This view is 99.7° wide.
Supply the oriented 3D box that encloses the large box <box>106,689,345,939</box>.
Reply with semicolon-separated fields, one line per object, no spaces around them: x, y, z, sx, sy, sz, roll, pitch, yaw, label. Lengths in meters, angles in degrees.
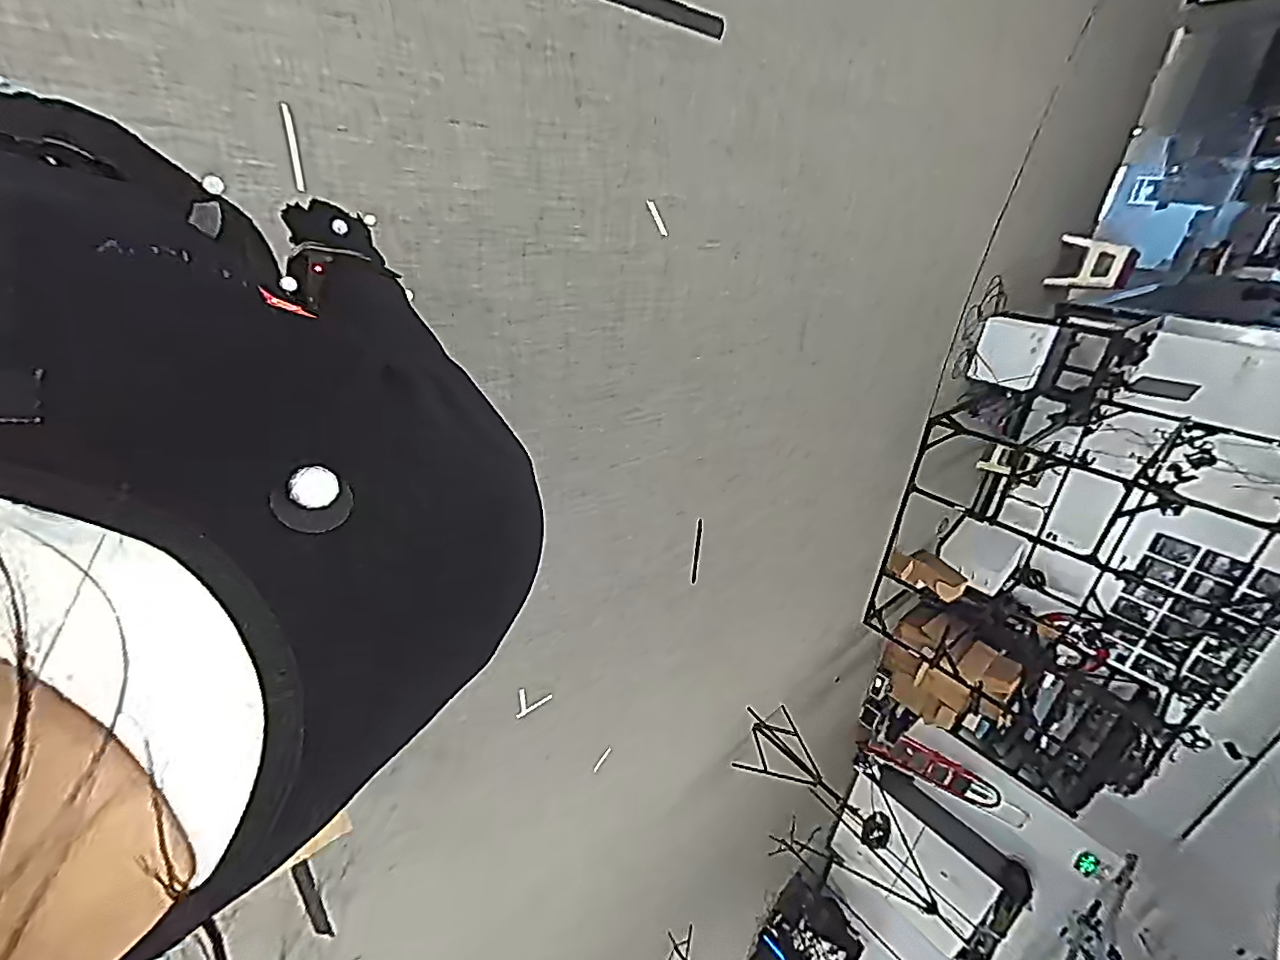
-1.068;0.843;1.417;0.408;0.320;0.320;-22;128;-36;large box
